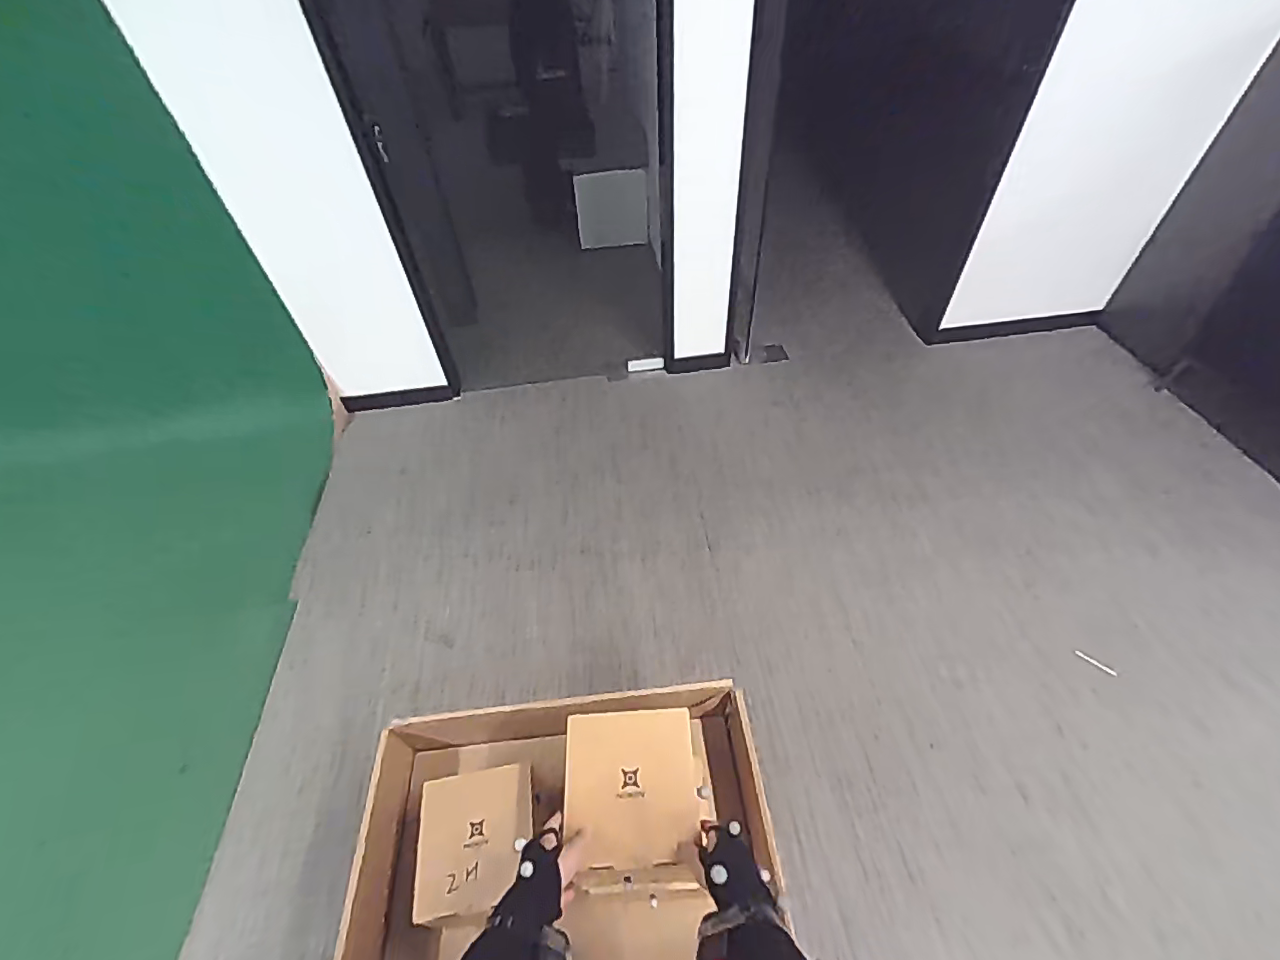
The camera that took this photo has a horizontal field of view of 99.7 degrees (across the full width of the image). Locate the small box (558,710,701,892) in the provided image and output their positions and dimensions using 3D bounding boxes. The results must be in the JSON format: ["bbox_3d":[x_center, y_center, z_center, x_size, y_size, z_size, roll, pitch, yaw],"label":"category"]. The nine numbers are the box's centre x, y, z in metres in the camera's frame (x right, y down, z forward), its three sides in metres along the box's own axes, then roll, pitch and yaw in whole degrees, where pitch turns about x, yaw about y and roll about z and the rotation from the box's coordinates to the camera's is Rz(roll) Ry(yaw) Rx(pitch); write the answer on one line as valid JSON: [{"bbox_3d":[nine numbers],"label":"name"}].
[{"bbox_3d":[-0.011,0.431,0.727,0.168,0.176,0.179,-4,47,1],"label":"small box"}]
